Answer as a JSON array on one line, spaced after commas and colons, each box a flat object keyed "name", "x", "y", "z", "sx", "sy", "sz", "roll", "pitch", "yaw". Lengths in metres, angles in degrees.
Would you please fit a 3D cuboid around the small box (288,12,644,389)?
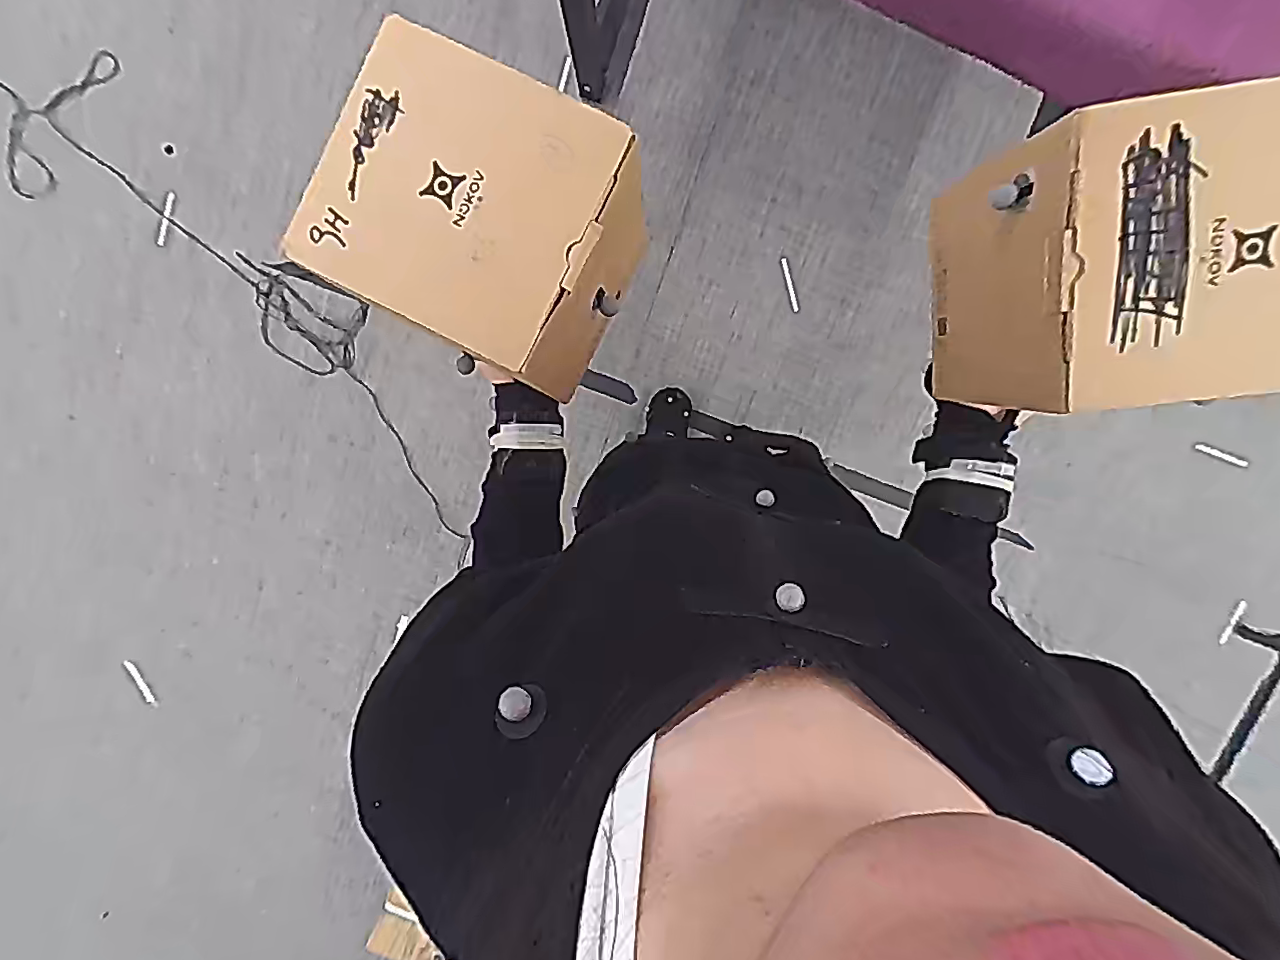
[{"name": "small box", "x": -0.107, "y": -0.181, "z": 0.415, "sx": 0.179, "sy": 0.176, "sz": 0.168, "roll": 27, "pitch": 92, "yaw": 1}]
